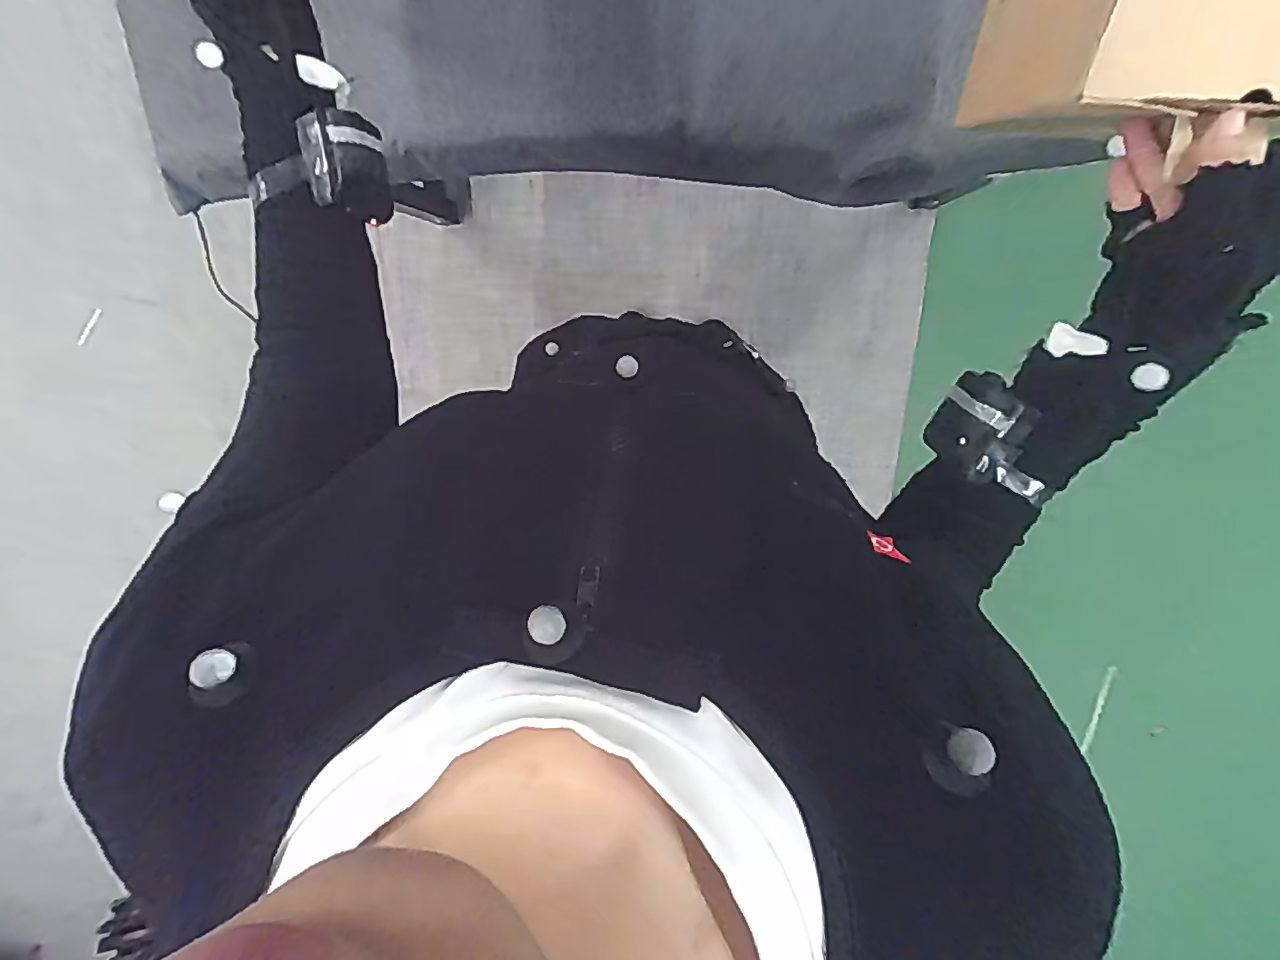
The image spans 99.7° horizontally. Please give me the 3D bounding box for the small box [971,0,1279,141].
[{"bbox_3d":[0.317,-0.295,0.297,0.168,0.176,0.179,6,120,4],"label":"small box"}]
